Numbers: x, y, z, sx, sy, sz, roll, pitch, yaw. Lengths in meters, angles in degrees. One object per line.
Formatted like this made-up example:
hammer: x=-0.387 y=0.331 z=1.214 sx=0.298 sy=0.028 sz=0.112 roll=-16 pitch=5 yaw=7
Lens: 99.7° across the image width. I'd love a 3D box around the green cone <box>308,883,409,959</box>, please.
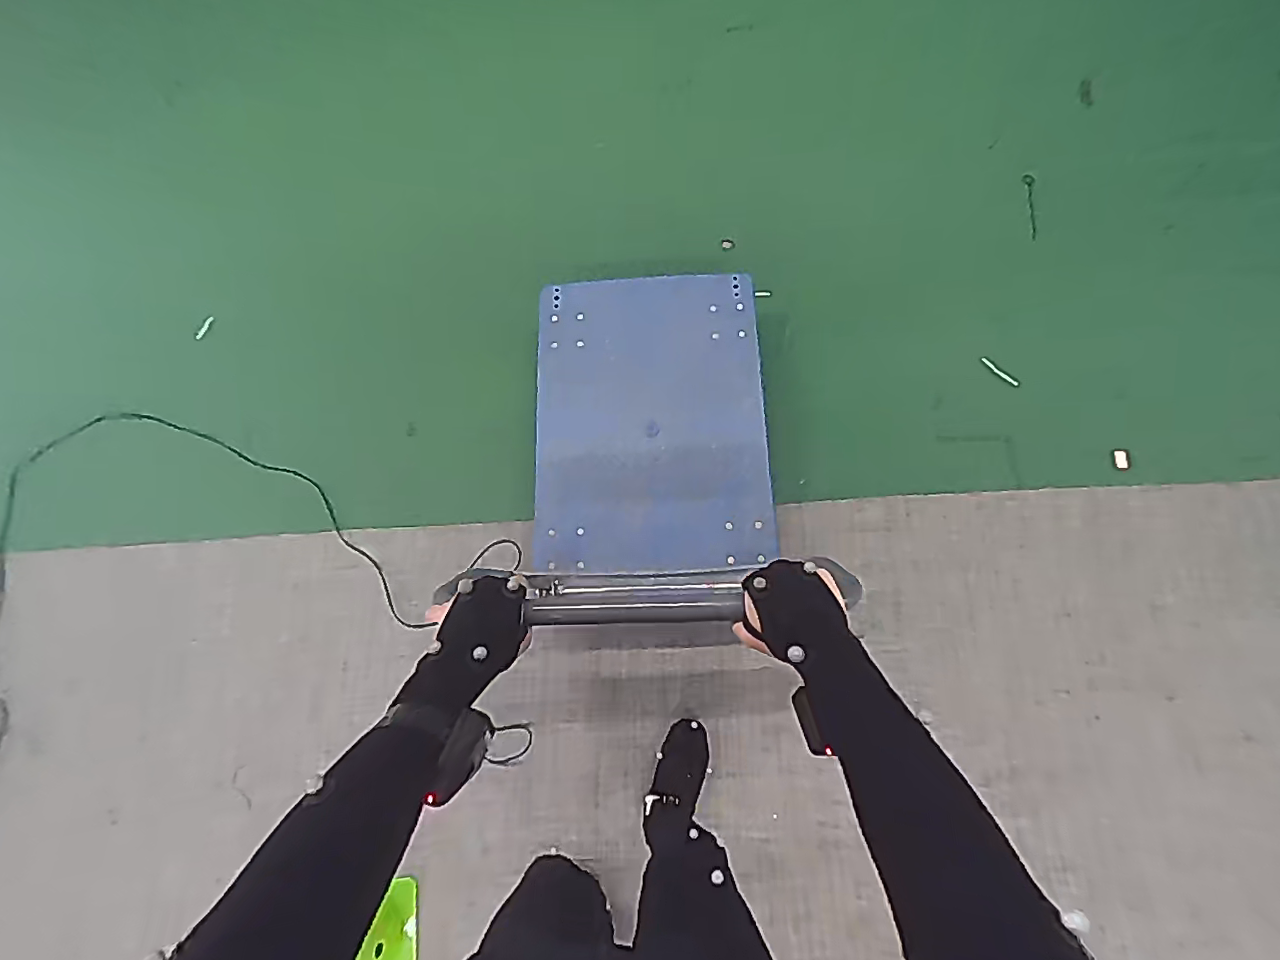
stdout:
green cone: x=-0.644 y=1.004 z=1.078 sx=0.202 sy=0.368 sz=0.200 roll=-8 pitch=75 yaw=3
